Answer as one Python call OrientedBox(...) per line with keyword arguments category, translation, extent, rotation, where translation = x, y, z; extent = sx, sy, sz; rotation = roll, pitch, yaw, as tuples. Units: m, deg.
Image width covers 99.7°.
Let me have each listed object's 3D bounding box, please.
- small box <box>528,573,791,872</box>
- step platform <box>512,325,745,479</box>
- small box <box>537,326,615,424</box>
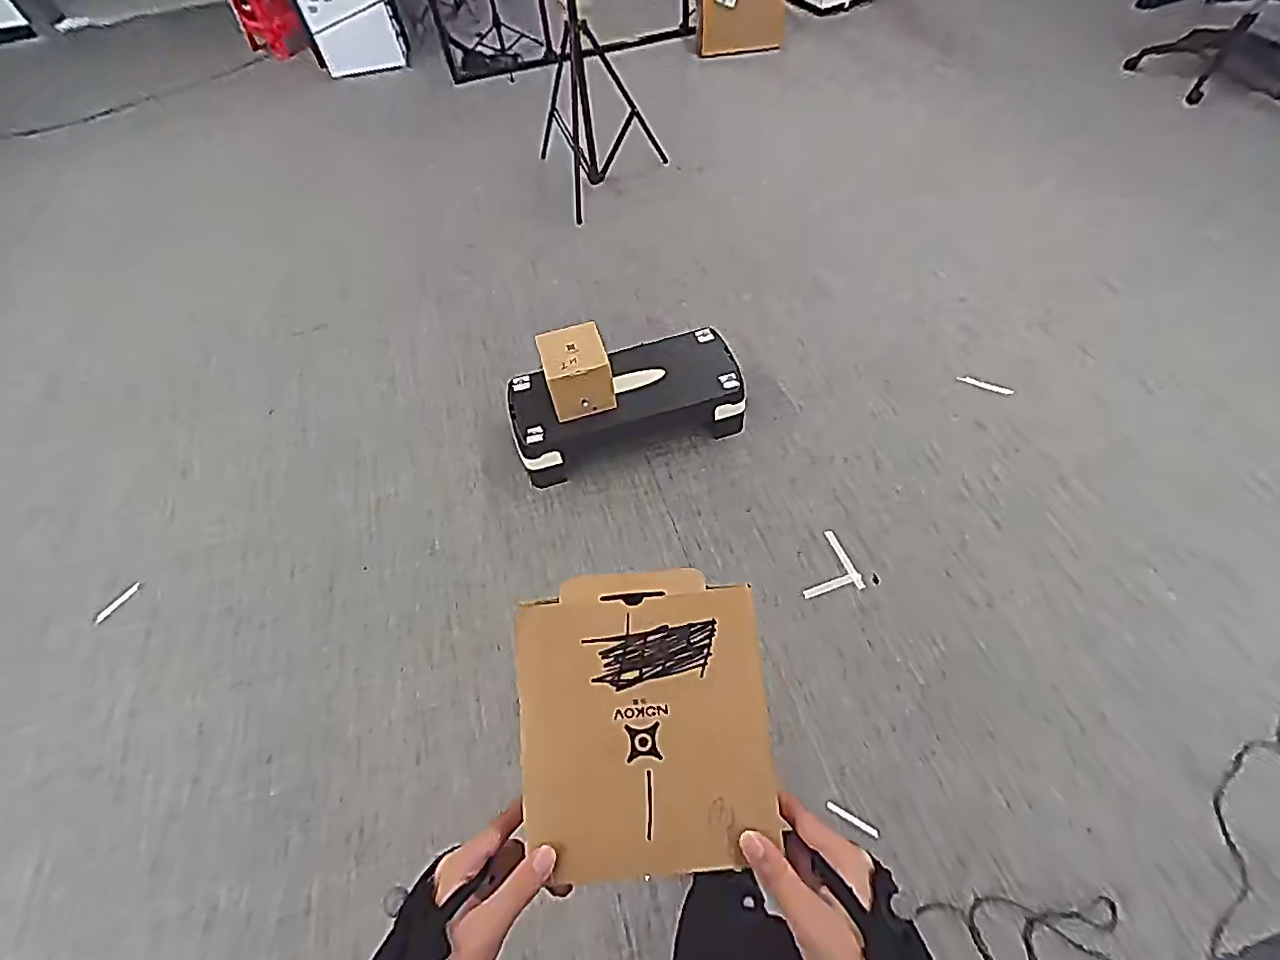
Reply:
OrientedBox(category="small box", translation=(0.009, 0.173, 0.435), extent=(0.168, 0.176, 0.179), rotation=(-5, 78, 0))
OrientedBox(category="step platform", translation=(-0.036, -0.241, 1.634), extent=(0.684, 0.204, 0.286), rotation=(-17, 57, -5))
OrientedBox(category="small box", translation=(-0.171, -0.282, 1.464), extent=(0.168, 0.176, 0.179), rotation=(-16, 57, -5))
